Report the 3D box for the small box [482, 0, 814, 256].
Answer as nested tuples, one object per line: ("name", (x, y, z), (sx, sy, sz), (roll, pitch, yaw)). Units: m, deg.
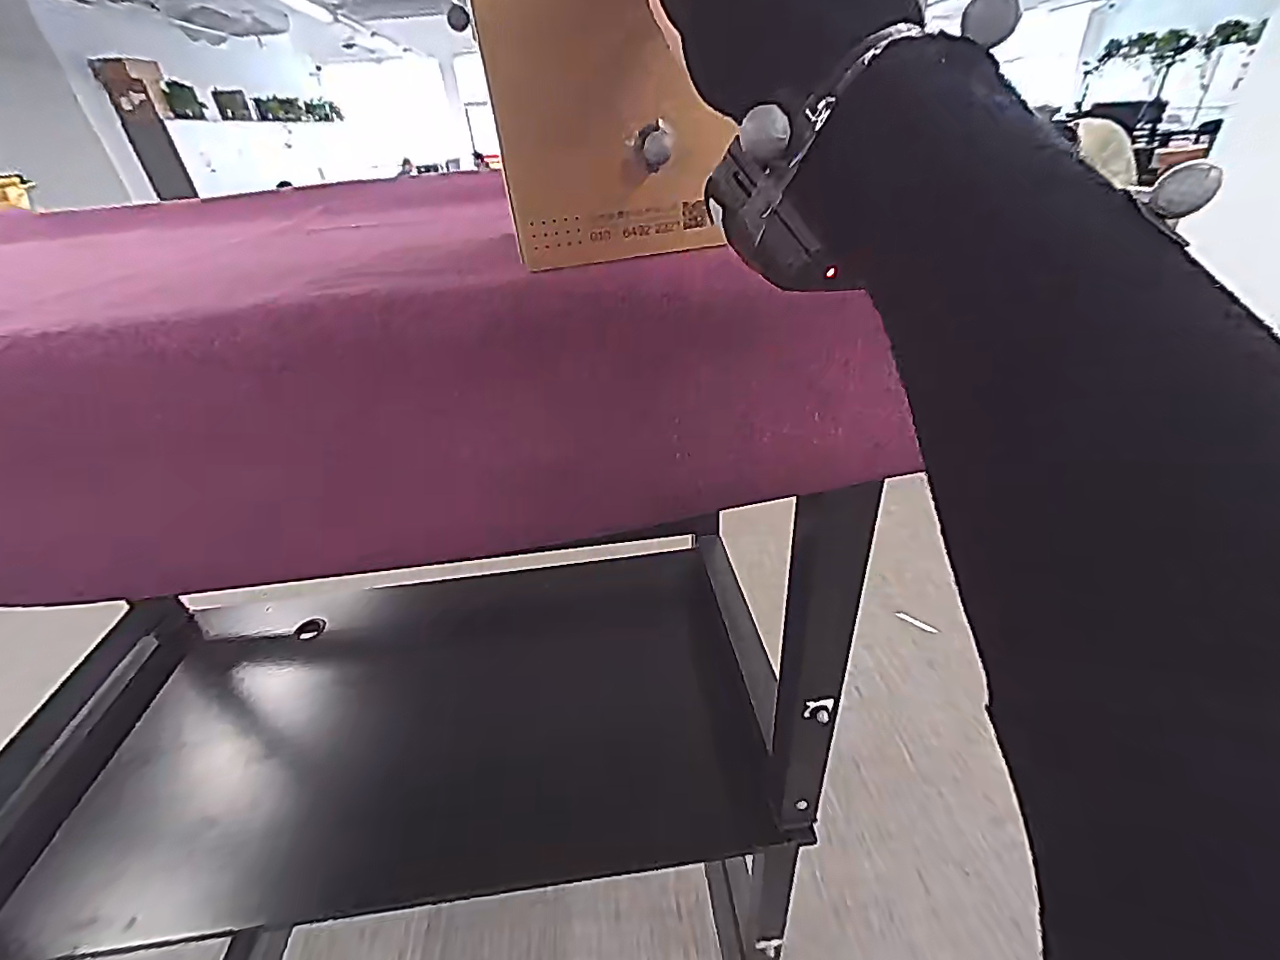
("small box", (-0.008, -0.252, 0.343), (0.168, 0.176, 0.179), (-11, 36, -8))
